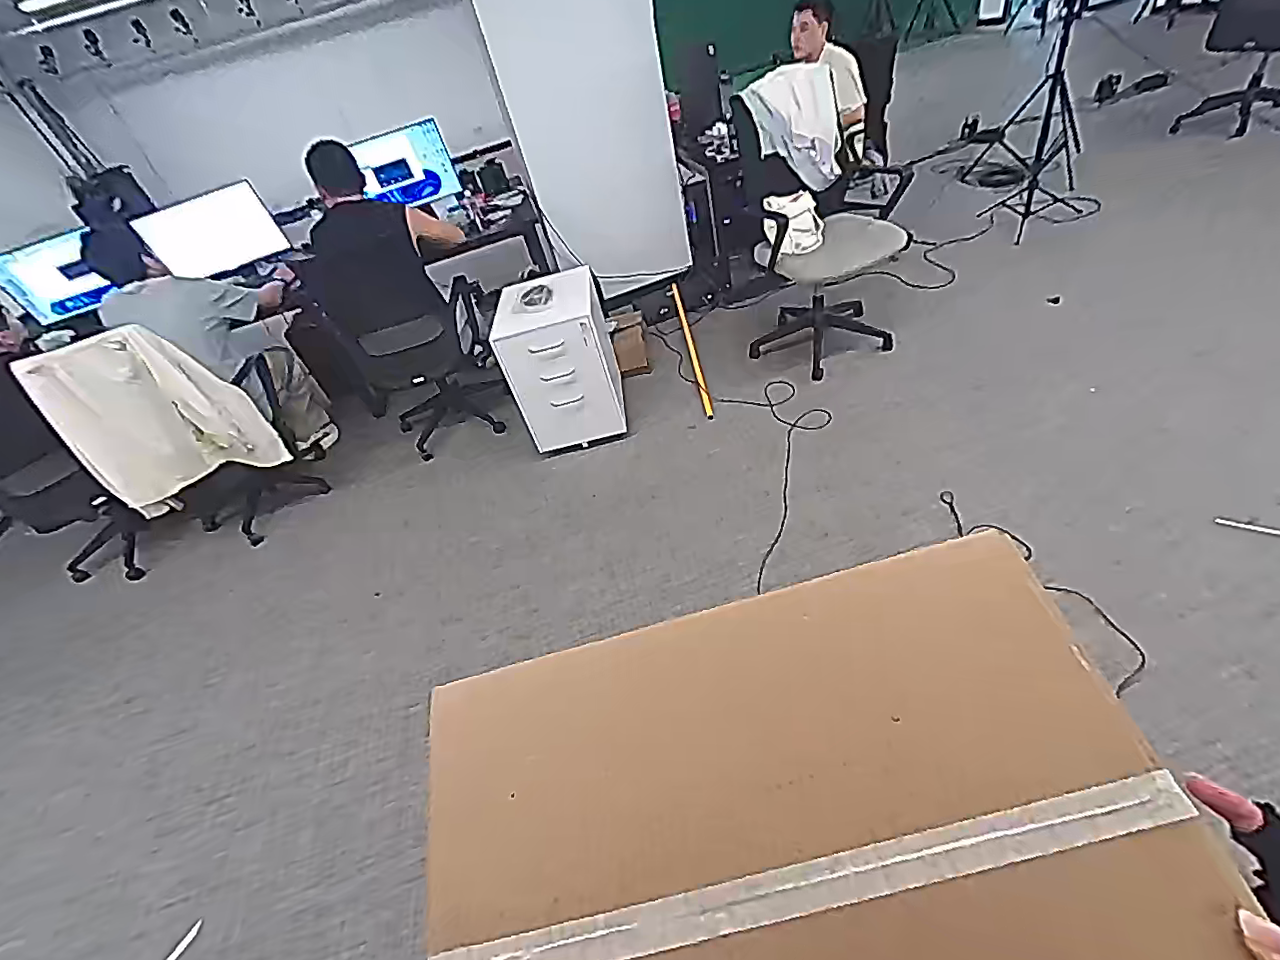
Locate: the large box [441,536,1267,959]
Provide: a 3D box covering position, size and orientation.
[{"bbox_3d":[0.112,0.294,0.418,0.408,0.320,0.320,-18,55,4],"label":"large box"}]
